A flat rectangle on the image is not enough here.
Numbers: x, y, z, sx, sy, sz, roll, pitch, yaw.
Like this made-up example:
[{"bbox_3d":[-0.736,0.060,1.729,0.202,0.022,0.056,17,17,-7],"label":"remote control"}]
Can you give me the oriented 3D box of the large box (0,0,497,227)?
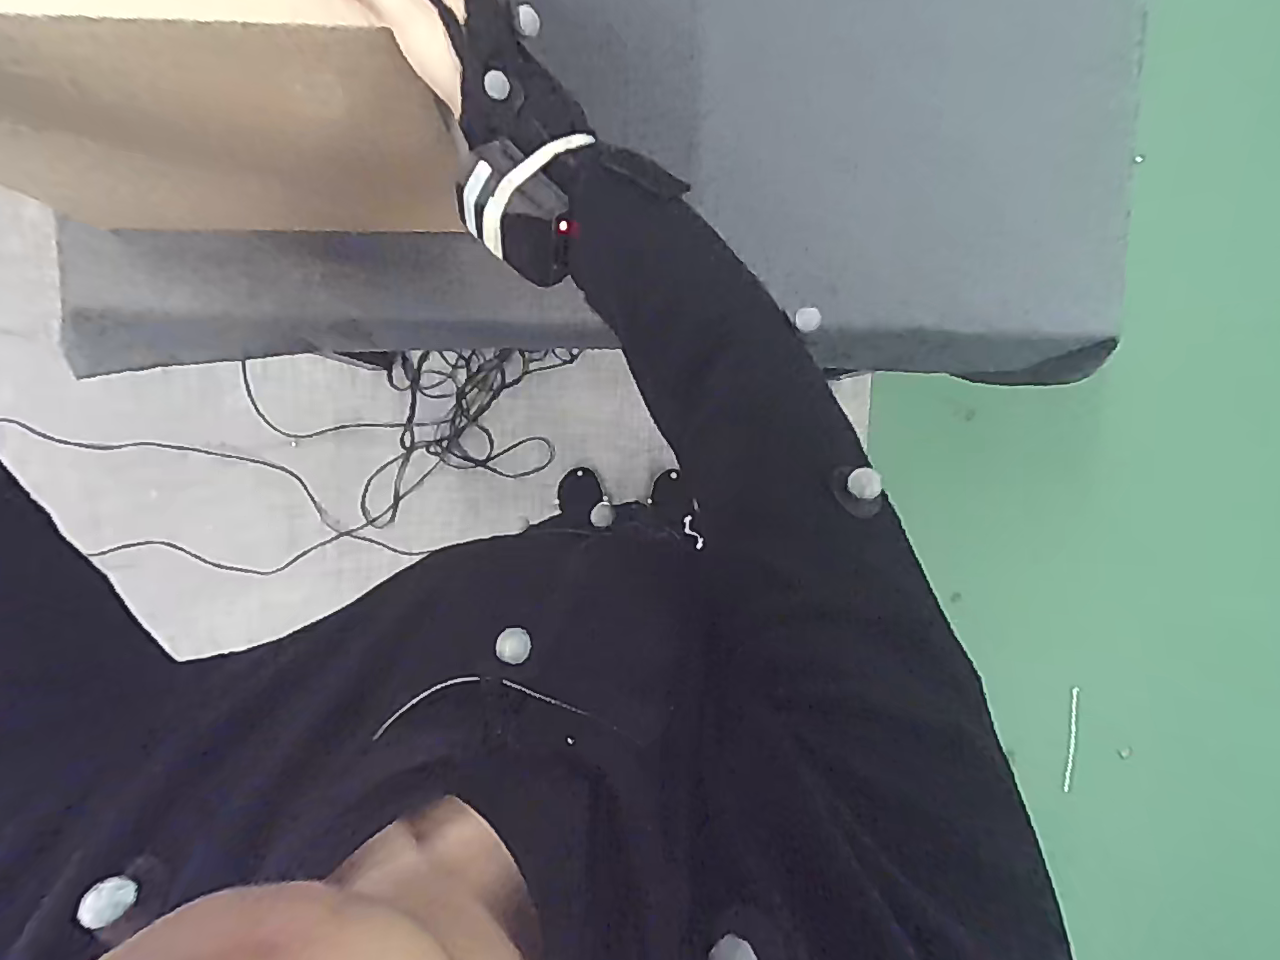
[{"bbox_3d":[-0.342,-0.411,0.415,0.408,0.320,0.320,-3,96,-7],"label":"large box"}]
